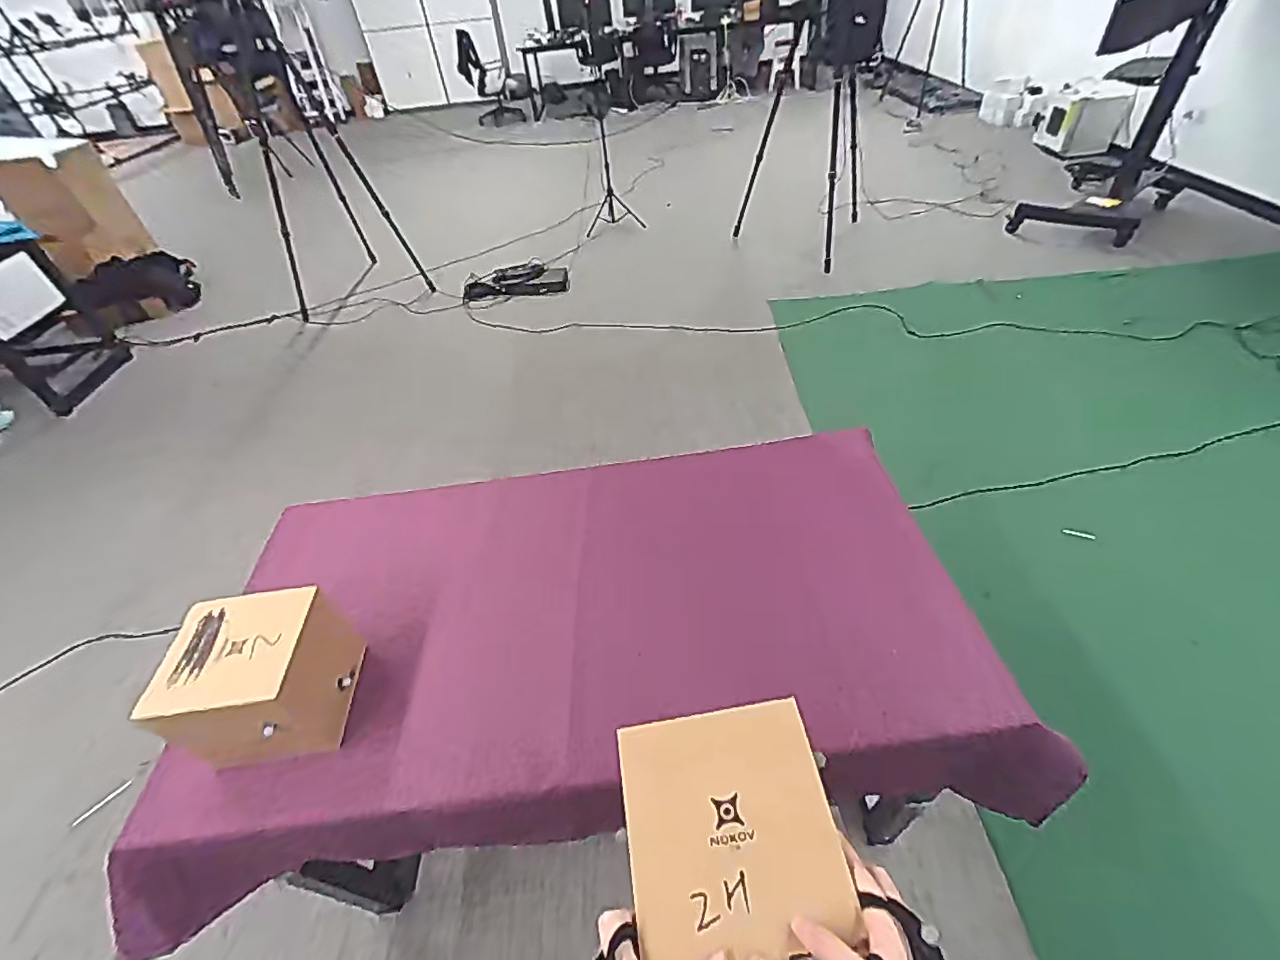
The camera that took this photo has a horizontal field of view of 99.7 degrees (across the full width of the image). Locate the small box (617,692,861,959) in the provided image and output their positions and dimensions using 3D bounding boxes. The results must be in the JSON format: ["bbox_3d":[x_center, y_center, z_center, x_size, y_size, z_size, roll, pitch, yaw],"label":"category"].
[{"bbox_3d":[0.077,0.322,0.499,0.168,0.176,0.179,-11,51,1],"label":"small box"}]
